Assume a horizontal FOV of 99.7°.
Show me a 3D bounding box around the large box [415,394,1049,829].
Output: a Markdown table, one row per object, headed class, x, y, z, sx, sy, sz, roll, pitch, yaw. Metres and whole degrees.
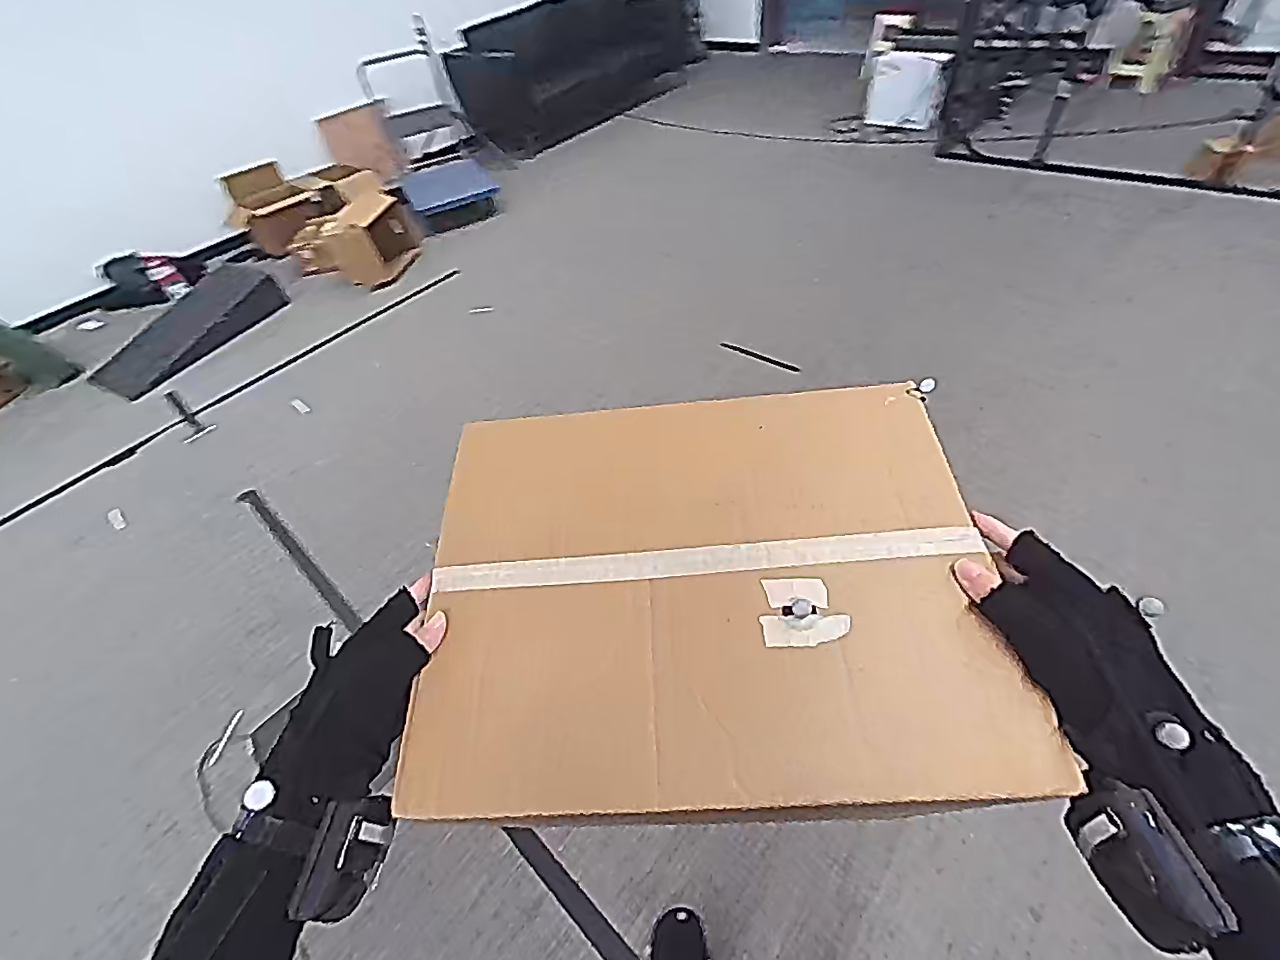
| class | x | y | z | sx | sy | sz | roll | pitch | yaw |
| --- | --- | --- | --- | --- | --- | --- | --- | --- | --- |
| large box | 0.057 | 0.149 | 0.539 | 0.408 | 0.320 | 0.320 | -5 | 57 | 3 |
